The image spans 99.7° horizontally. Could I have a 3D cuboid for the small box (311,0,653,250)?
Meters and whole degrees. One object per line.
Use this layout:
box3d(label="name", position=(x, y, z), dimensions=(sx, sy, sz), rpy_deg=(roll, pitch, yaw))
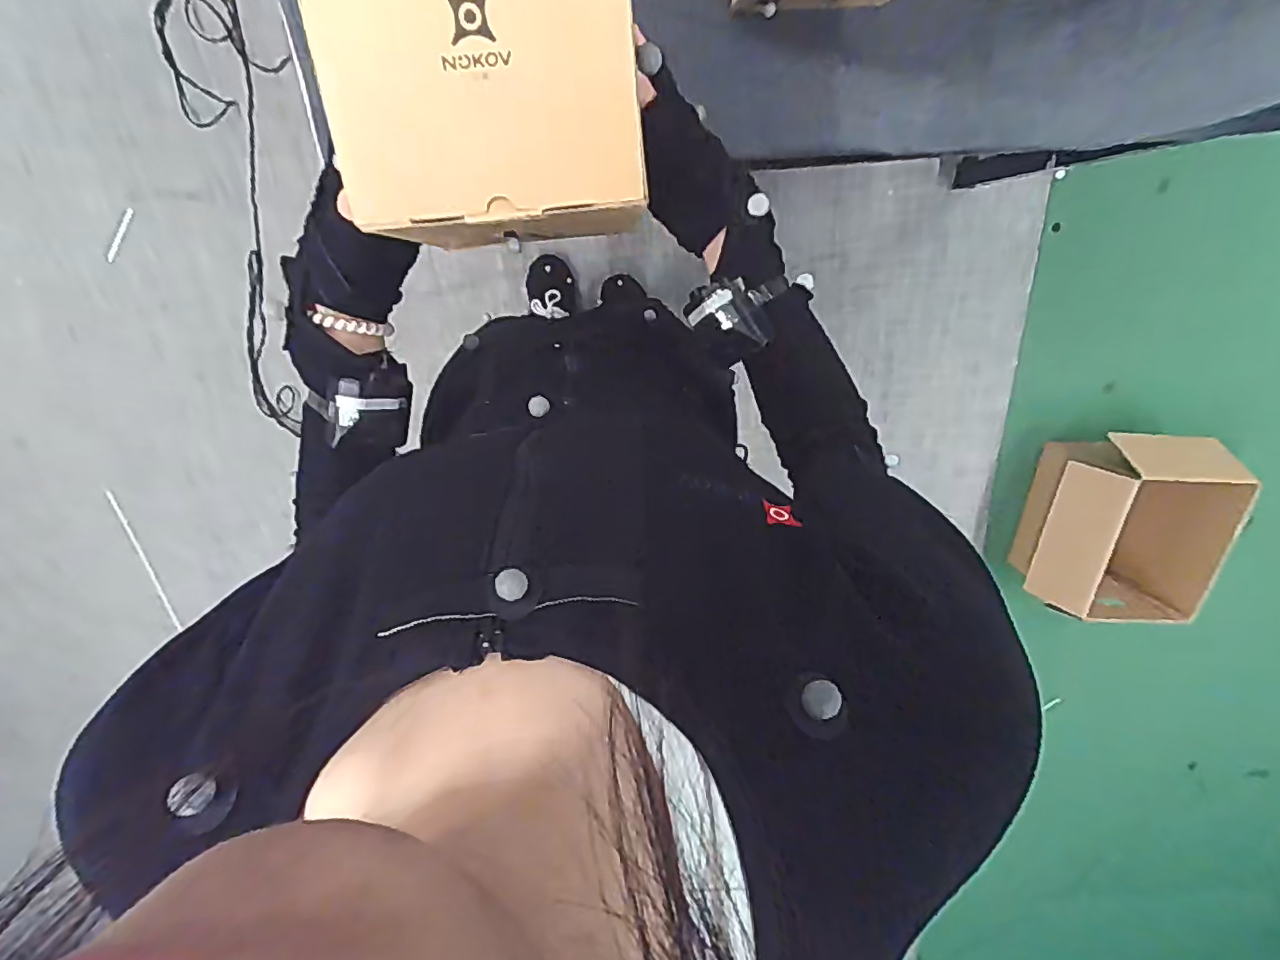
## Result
box3d(label="small box", position=(-0.086, -0.255, 0.350), dimensions=(0.168, 0.176, 0.179), rpy_deg=(-7, 111, -2))
